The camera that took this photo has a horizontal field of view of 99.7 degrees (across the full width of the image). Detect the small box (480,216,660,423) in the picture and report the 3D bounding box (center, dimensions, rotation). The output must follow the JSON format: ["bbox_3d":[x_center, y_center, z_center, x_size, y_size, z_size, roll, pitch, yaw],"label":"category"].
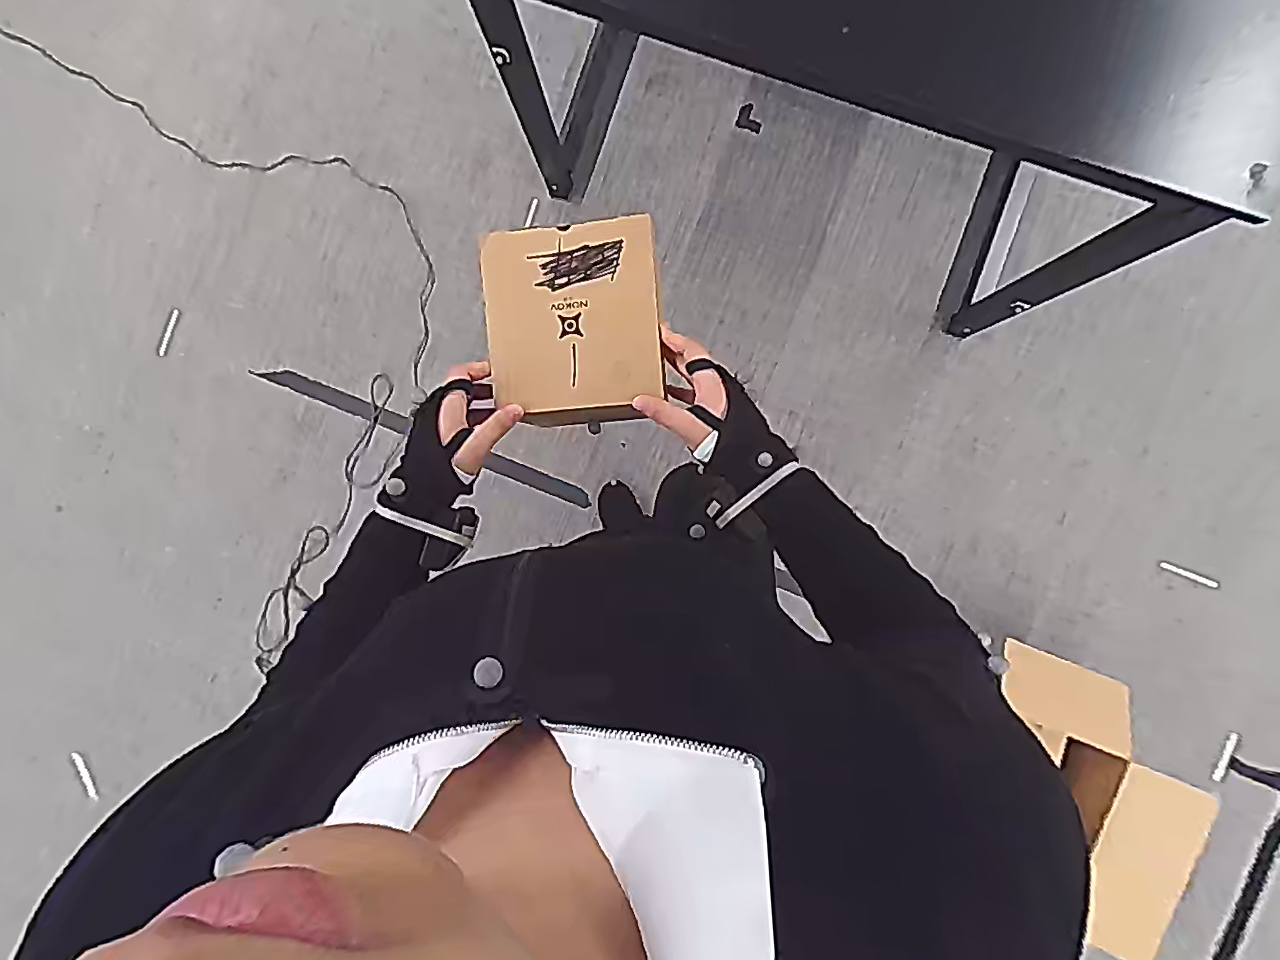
[{"bbox_3d":[-0.065,-0.160,0.594,0.168,0.176,0.179,-3,91,5],"label":"small box"}]
